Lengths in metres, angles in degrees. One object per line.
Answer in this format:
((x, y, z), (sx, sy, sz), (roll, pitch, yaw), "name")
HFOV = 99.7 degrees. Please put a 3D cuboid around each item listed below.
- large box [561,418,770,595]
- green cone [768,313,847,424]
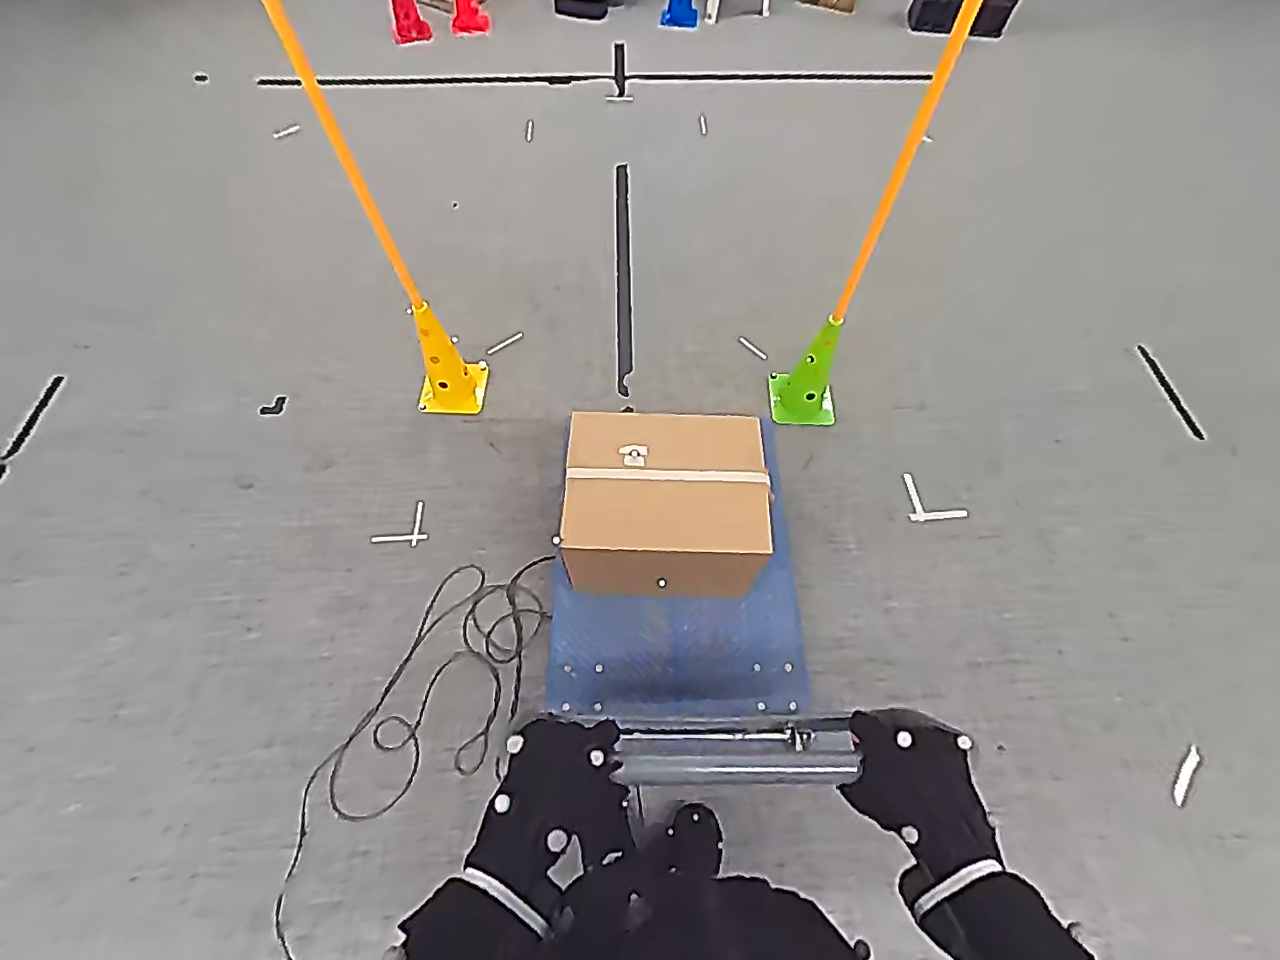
((0.052, 0.073, 1.223), (0.408, 0.320, 0.320), (1, 62, 1), "large box")
((0.533, -0.352, 1.626), (0.202, 0.368, 0.200), (2, 62, -1), "green cone")
